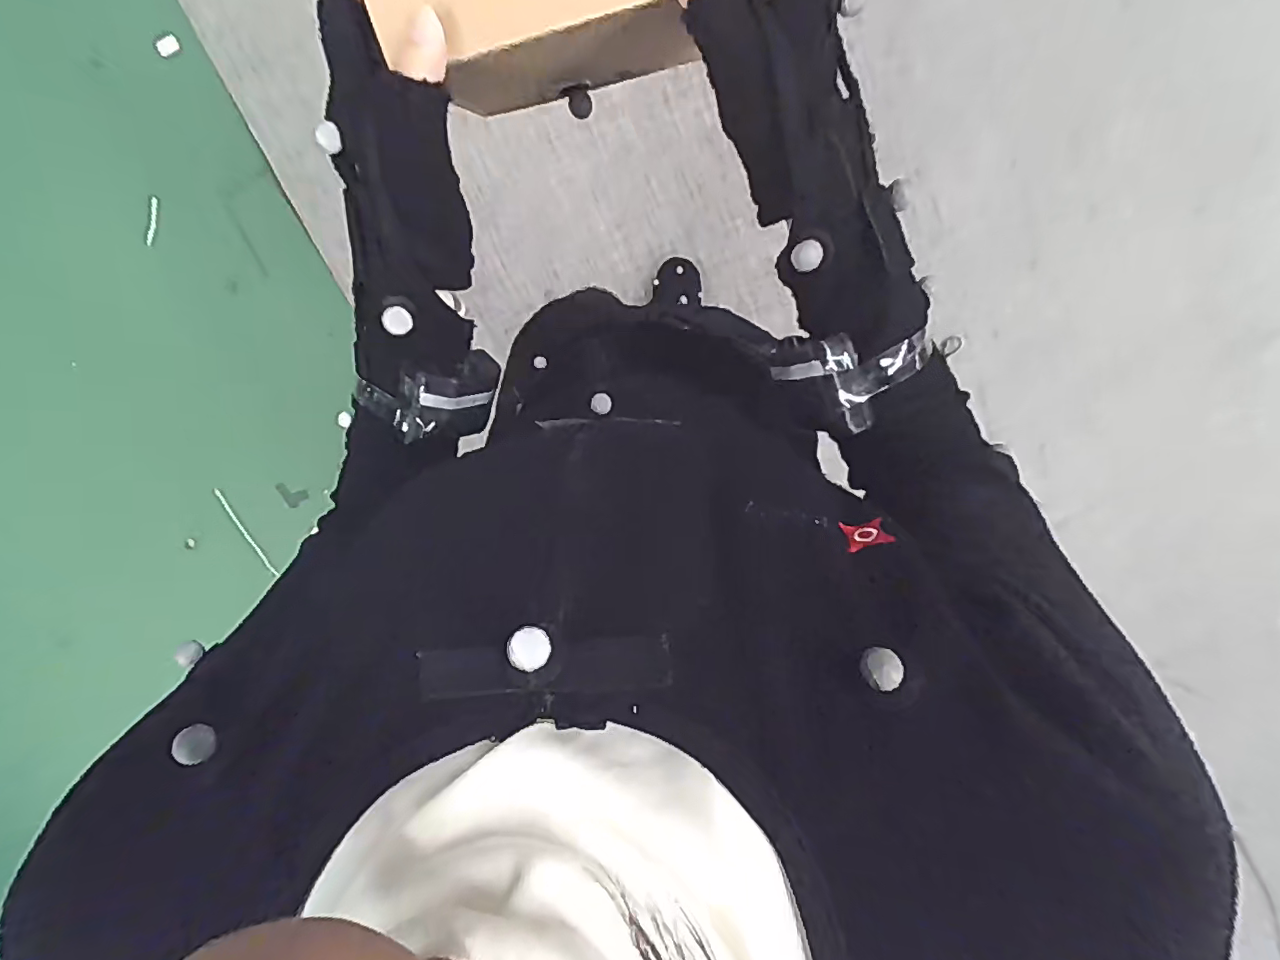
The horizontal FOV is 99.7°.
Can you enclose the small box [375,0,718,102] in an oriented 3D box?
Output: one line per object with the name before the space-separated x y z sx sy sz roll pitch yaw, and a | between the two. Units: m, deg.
small box | -0.053 -0.326 0.277 0.168 0.176 0.179 -10 117 8
